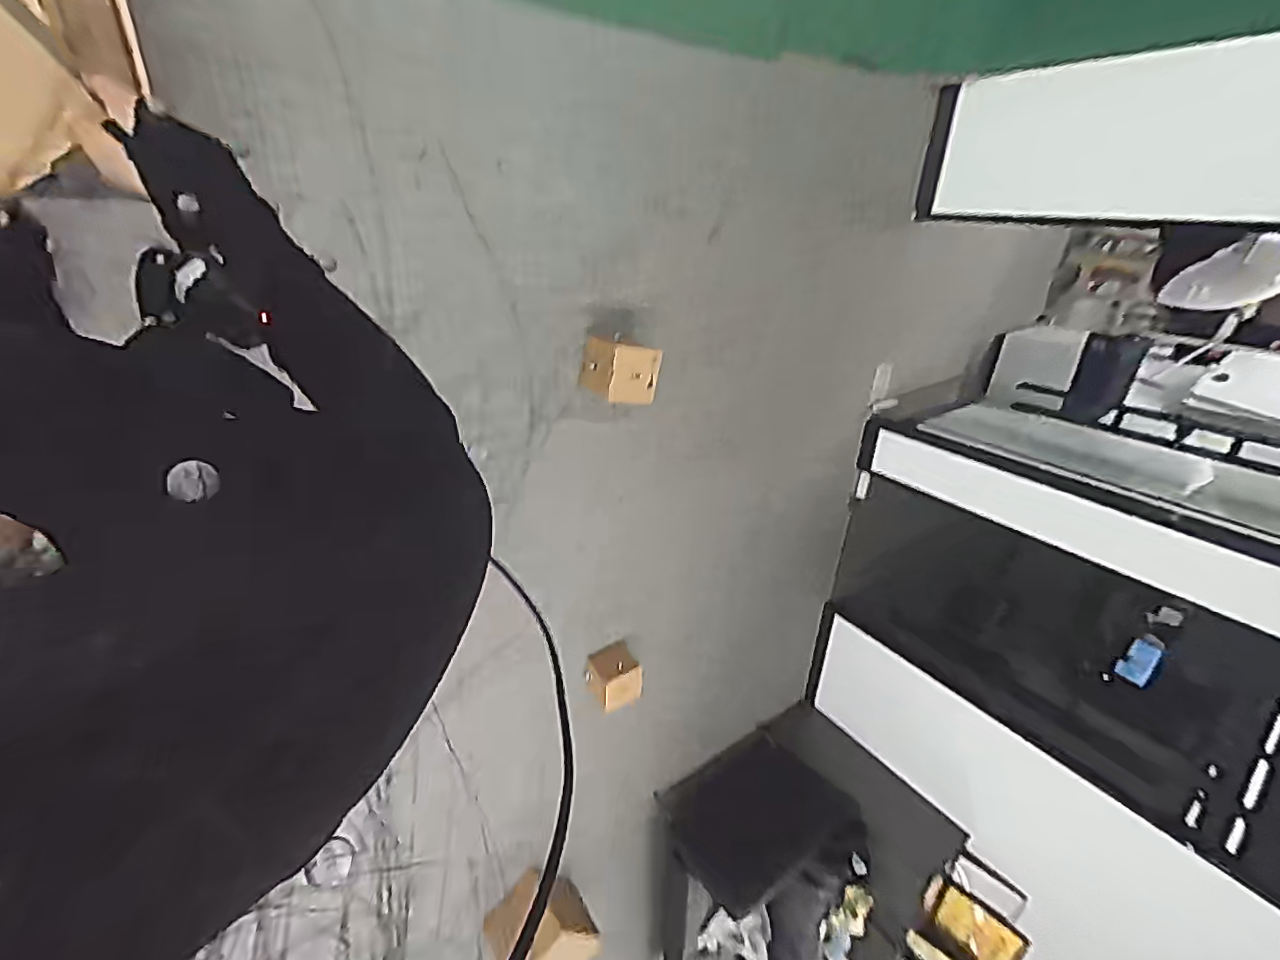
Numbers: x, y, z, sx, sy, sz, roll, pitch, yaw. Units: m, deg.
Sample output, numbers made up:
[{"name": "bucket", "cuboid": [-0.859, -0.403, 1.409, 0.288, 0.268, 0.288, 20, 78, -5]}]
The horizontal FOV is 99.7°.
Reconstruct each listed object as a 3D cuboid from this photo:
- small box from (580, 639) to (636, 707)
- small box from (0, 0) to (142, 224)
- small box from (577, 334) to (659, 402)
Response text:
[{"name": "small box", "cuboid": [-0.135, 0.794, 2.243, 0.179, 0.176, 0.168, -15, 121, -31]}, {"name": "small box", "cuboid": [-0.539, -0.308, 0.410, 0.168, 0.176, 0.179, -40, 136, -8]}, {"name": "small box", "cuboid": [-0.074, -0.345, 1.656, 0.179, 0.176, 0.168, -3, 115, -38]}]
